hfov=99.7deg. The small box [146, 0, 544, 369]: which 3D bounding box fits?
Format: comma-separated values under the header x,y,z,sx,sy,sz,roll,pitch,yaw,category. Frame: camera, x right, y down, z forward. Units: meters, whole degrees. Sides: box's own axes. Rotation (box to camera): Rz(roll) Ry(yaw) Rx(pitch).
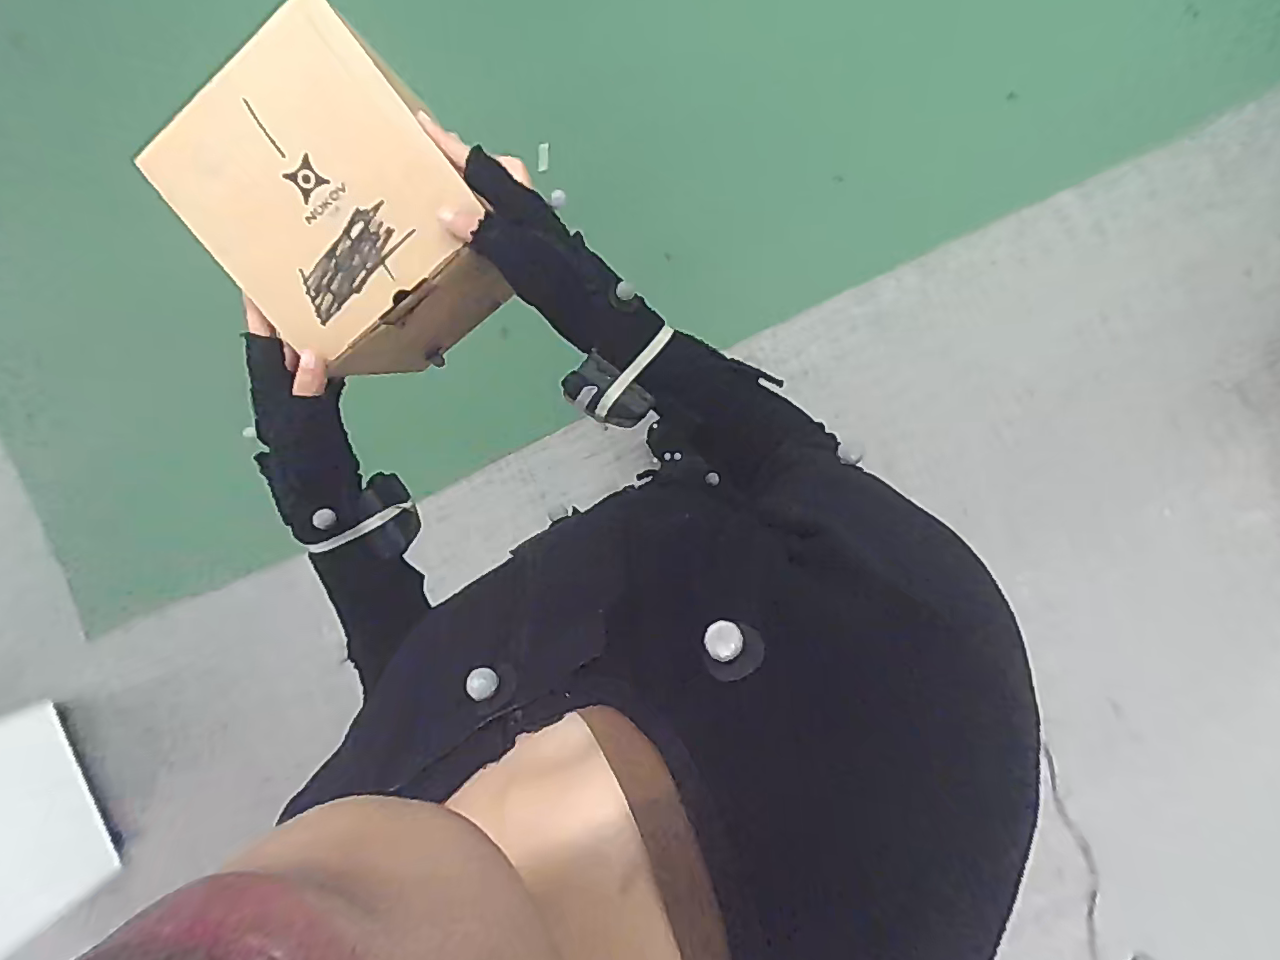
x,y,z,sx,sy,sz,roll,pitch,yaw,category
-0.199,-0.206,0.425,0.168,0.176,0.179,-35,98,8,small box
